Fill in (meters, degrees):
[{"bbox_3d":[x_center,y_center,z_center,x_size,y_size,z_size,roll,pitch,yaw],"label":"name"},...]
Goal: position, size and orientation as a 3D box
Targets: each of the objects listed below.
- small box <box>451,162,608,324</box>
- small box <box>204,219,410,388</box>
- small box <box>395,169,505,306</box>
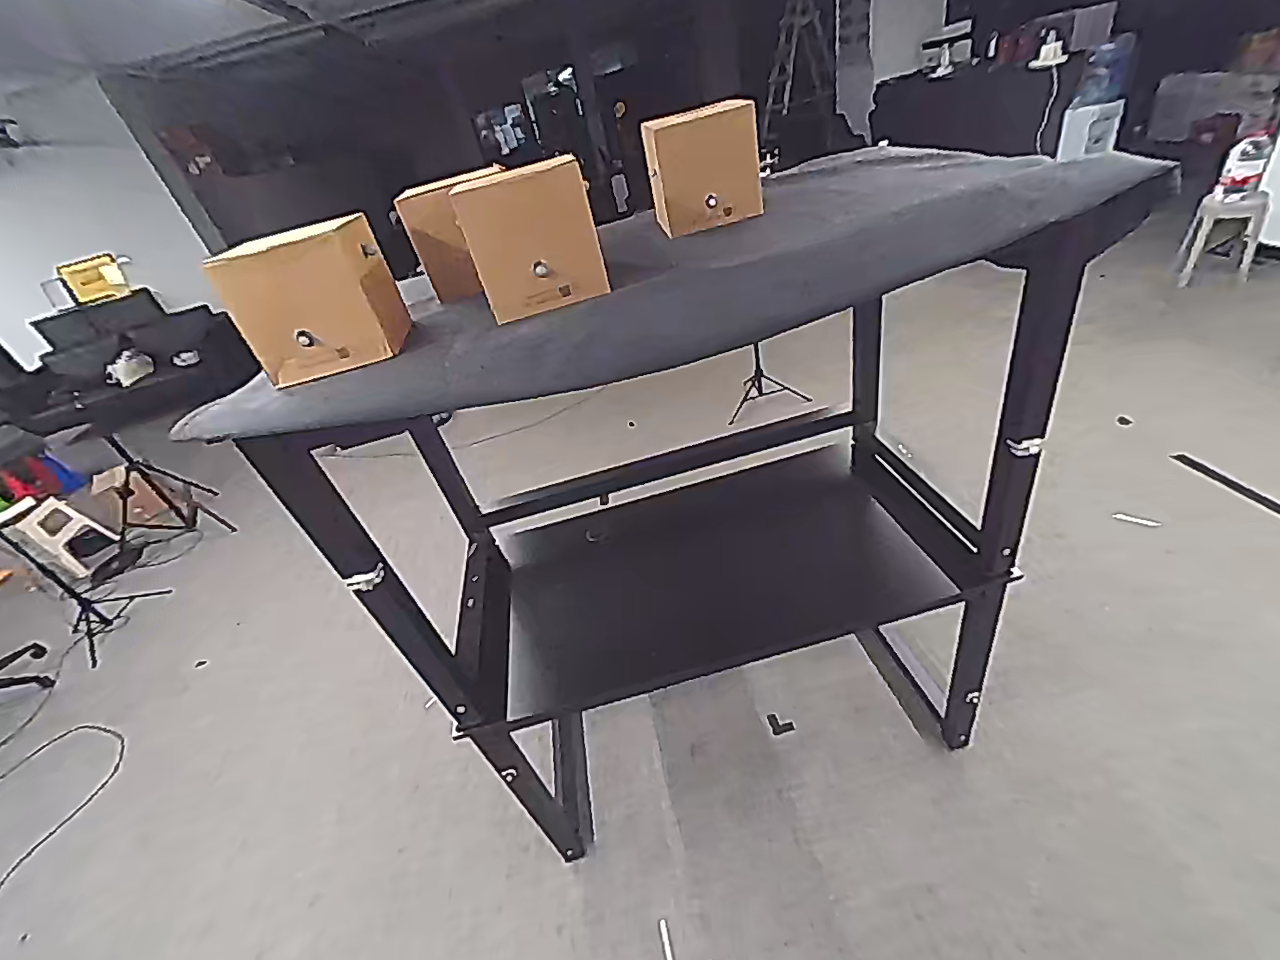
[{"bbox_3d":[-0.152,-0.342,0.779,0.168,0.176,0.179,-17,35,-2],"label":"small box"},{"bbox_3d":[-0.444,-0.249,0.760,0.168,0.176,0.179,-17,35,-4],"label":"small box"},{"bbox_3d":[-0.299,-0.428,0.953,0.179,0.176,0.168,-17,35,-4],"label":"small box"}]
